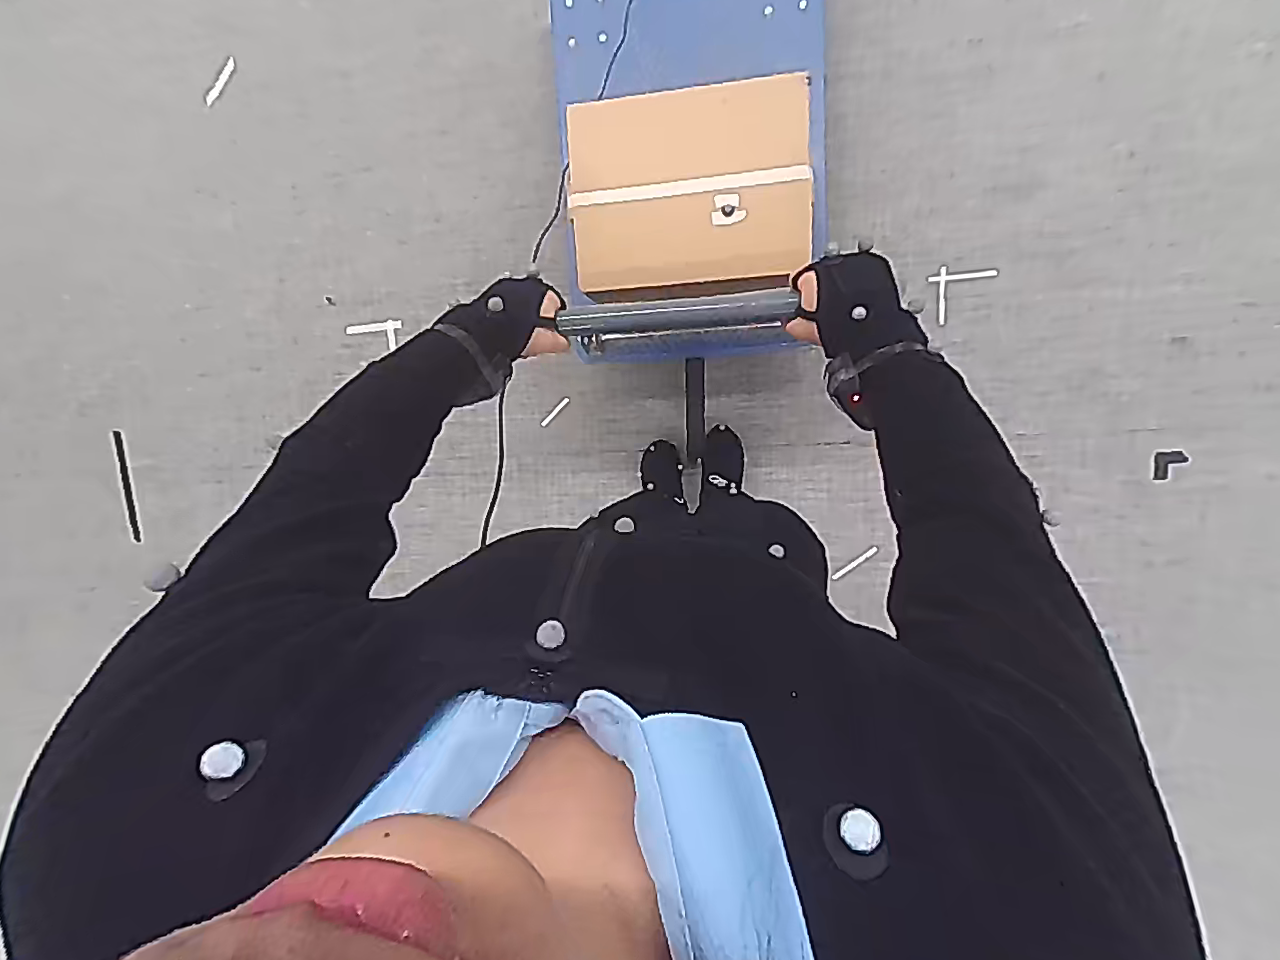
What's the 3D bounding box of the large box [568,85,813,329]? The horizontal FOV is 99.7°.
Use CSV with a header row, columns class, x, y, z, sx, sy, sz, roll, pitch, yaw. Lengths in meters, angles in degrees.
class,x,y,z,sx,sy,sz,roll,pitch,yaw
large box,0.099,-0.490,1.055,0.408,0.320,0.320,-2,98,8
